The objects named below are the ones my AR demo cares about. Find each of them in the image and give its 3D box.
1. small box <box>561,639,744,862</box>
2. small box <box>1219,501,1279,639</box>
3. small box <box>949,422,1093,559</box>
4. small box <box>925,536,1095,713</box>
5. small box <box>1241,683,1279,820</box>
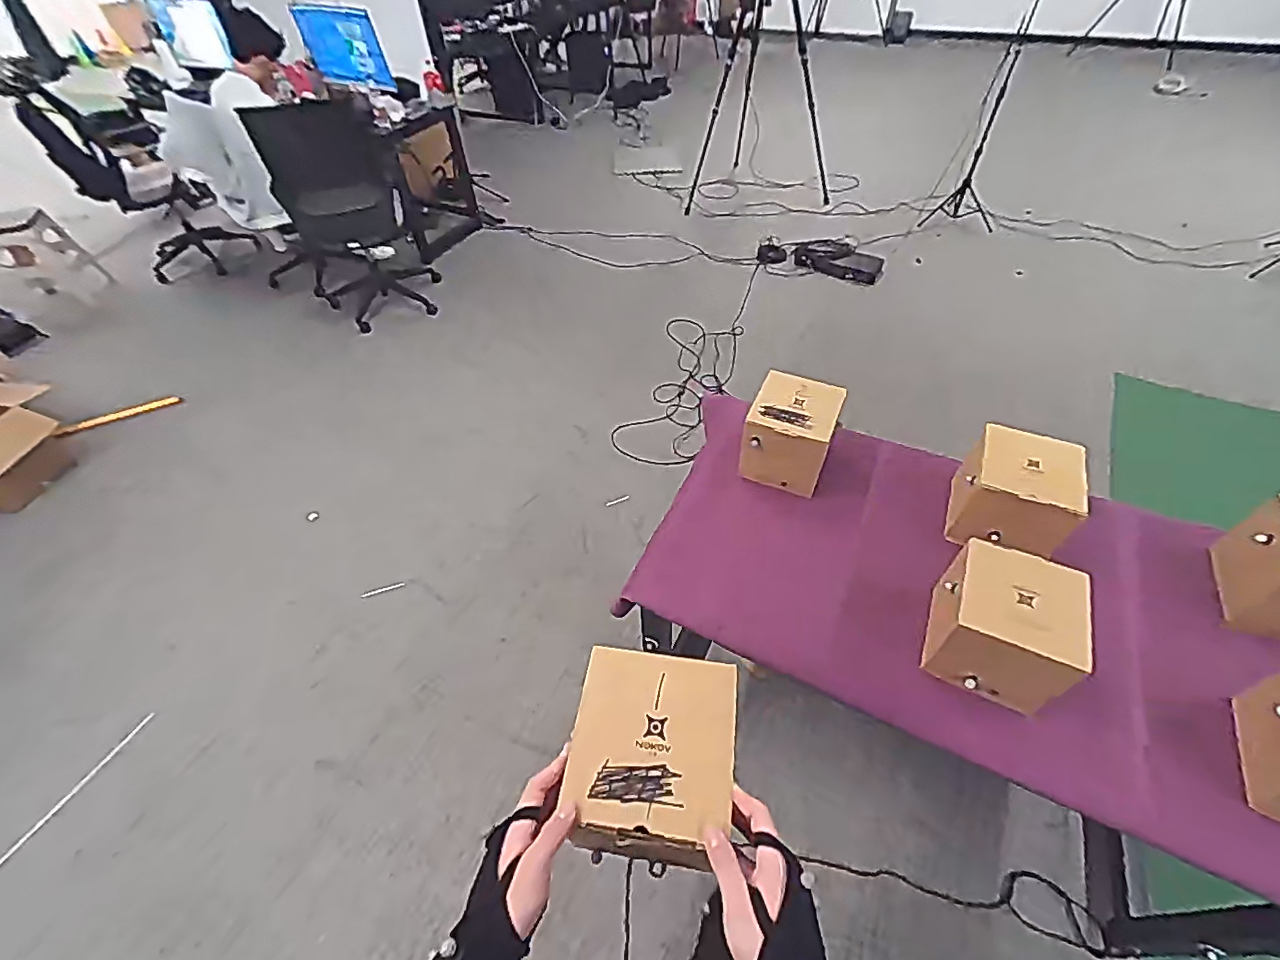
[{"bbox_3d":[0.021,0.306,0.606,0.168,0.176,0.179,6,49,6],"label":"small box"},{"bbox_3d":[1.106,0.156,0.879,0.168,0.176,0.179,18,52,21],"label":"small box"},{"bbox_3d":[0.707,0.026,1.018,0.168,0.176,0.179,19,53,18],"label":"small box"},{"bbox_3d":[0.569,0.225,0.846,0.168,0.176,0.179,20,51,20],"label":"small box"},{"bbox_3d":[0.948,0.367,0.701,0.168,0.176,0.179,21,50,22],"label":"small box"}]
